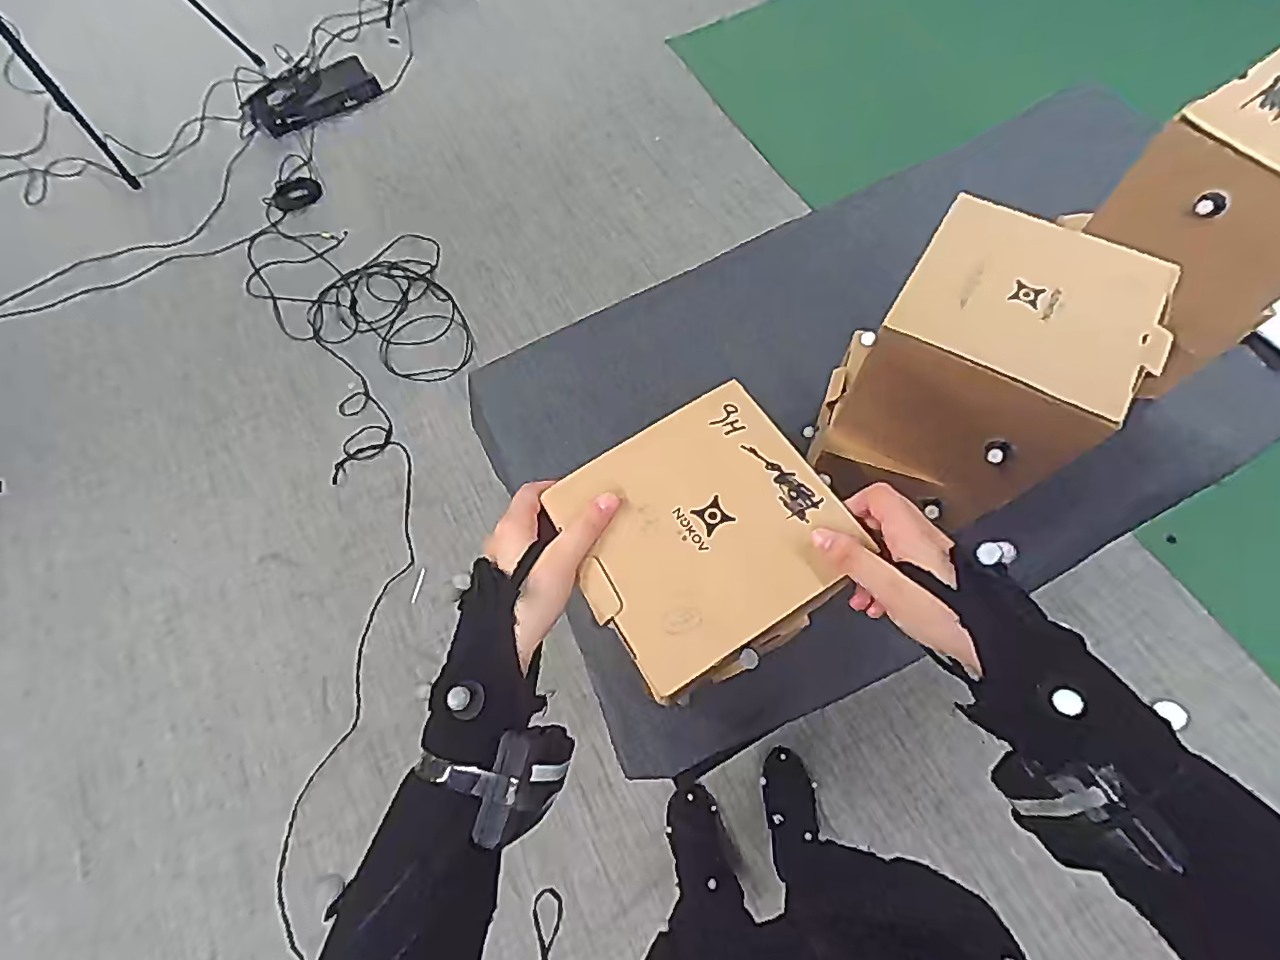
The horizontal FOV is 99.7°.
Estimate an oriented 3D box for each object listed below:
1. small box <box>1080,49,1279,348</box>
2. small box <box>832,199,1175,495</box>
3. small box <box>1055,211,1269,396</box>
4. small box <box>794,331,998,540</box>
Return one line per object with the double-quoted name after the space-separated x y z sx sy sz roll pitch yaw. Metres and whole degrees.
0.588 -0.266 0.529 0.168 0.176 0.179 -33 68 -7 "small box"
0.304 -0.106 0.491 0.179 0.176 0.168 29 72 17 "small box"
0.593 -0.215 0.686 0.179 0.176 0.168 -2 67 6 "small box"
0.300 -0.042 0.641 0.179 0.176 0.168 18 69 12 "small box"
